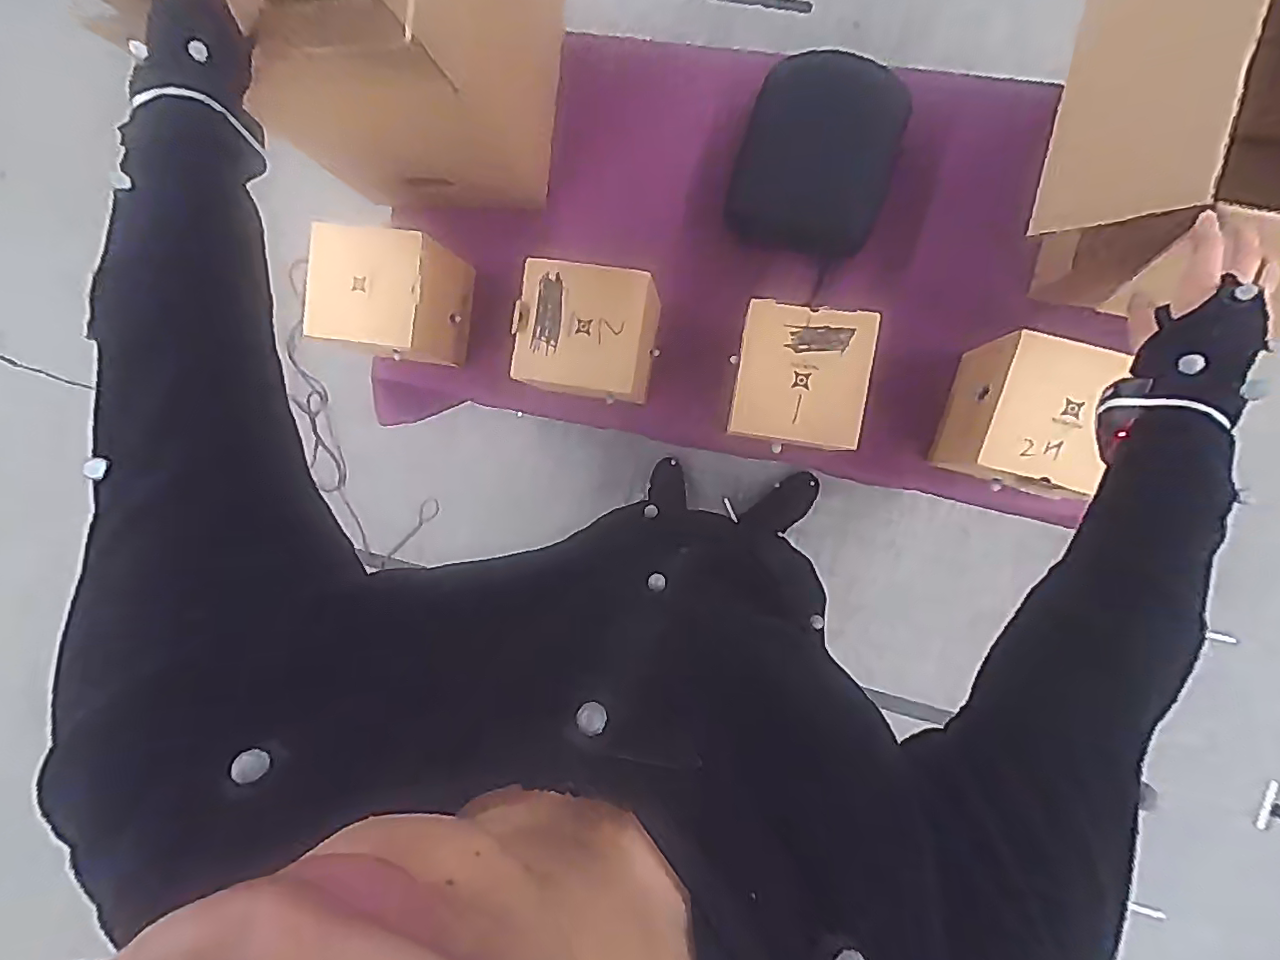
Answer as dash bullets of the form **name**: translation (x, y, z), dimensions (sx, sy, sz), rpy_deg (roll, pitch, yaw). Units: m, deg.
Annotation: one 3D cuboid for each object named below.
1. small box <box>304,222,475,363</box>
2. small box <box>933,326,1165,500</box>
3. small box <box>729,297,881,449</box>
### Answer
- **small box**: translation (-0.385, -0.285, 0.854), dimensions (0.179, 0.176, 0.168), rpy_deg (8, 94, 6)
- **small box**: translation (0.529, -0.085, 0.731), dimensions (0.168, 0.176, 0.179), rpy_deg (18, 95, 8)
- **small box**: translation (0.222, -0.143, 0.774), dimensions (0.168, 0.176, 0.179), rpy_deg (10, 96, 8)
